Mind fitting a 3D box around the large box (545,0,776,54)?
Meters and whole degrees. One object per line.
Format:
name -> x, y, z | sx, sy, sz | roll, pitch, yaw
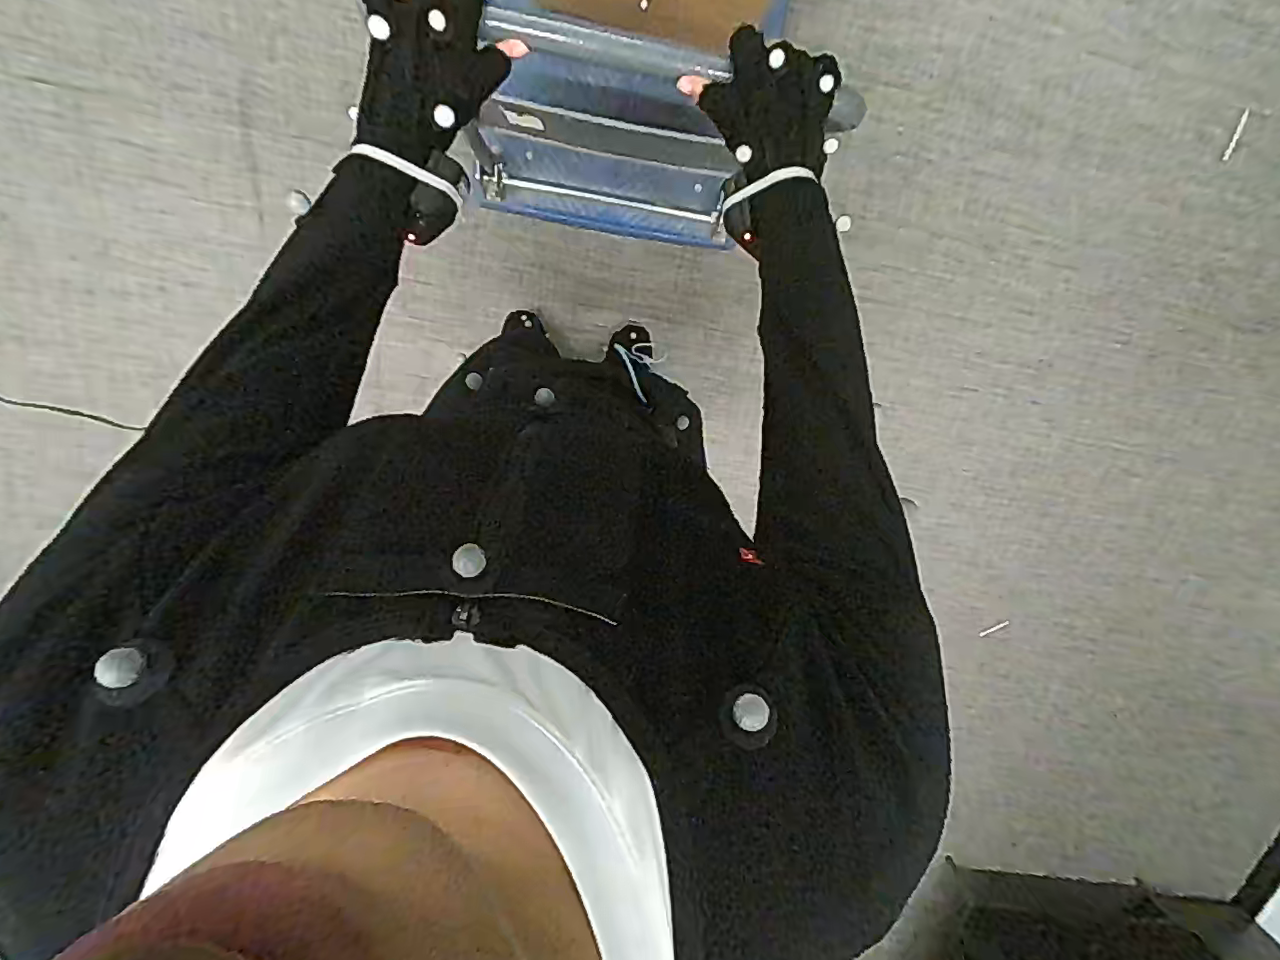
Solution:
large box -> 0.047, -0.953, 0.854 | 0.408, 0.320, 0.320 | 11, 108, -6
